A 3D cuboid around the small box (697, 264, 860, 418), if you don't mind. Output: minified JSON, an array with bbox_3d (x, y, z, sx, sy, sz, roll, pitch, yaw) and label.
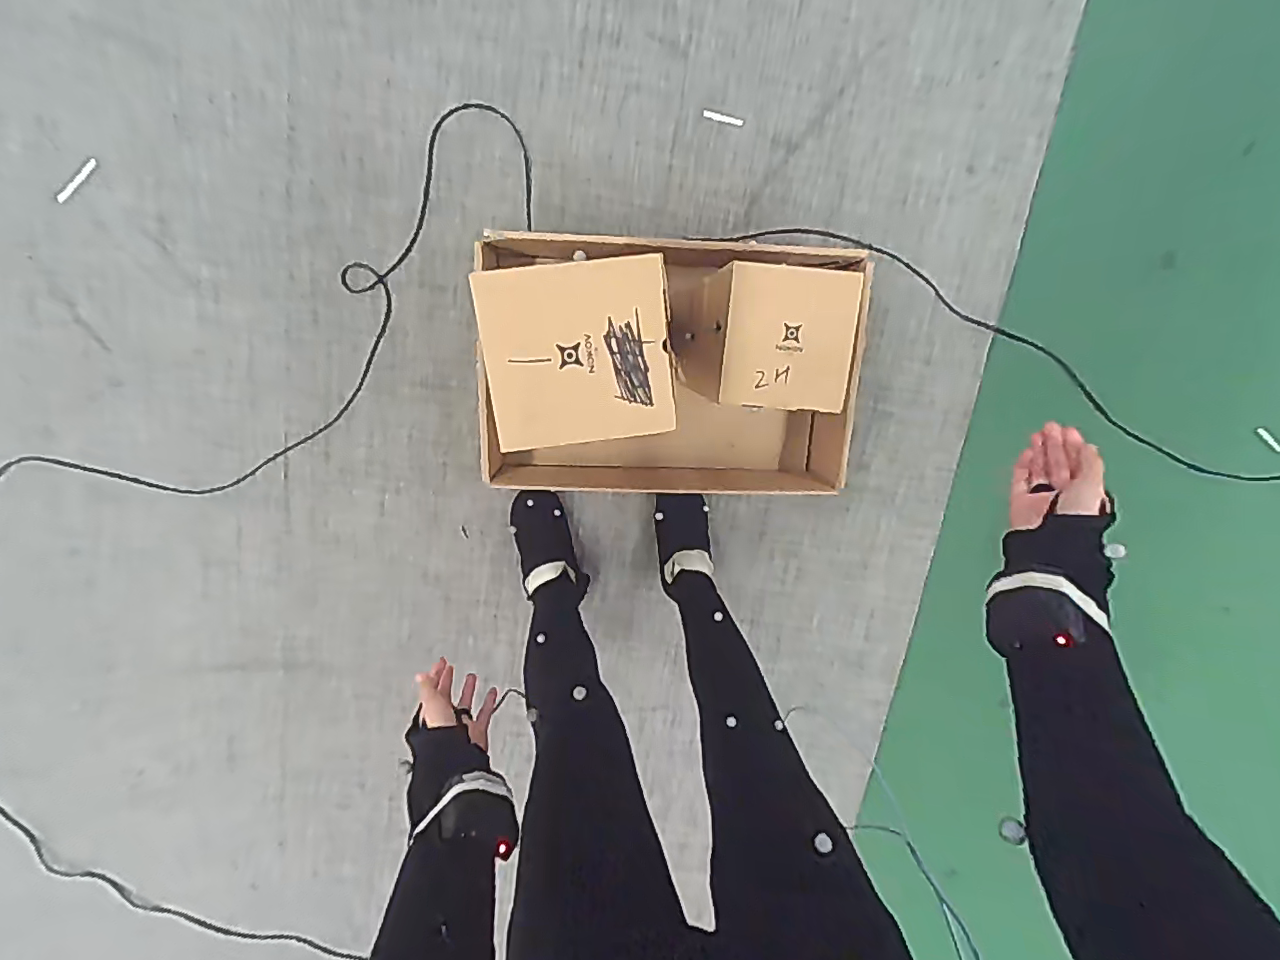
[{"bbox_3d":[0.178,-0.189,0.752,0.168,0.176,0.179,4,104,-4],"label":"small box"}]

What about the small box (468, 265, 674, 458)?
[{"bbox_3d":[-0.068,-0.130,0.582,0.179,0.176,0.168,-8,105,-3],"label":"small box"}]
